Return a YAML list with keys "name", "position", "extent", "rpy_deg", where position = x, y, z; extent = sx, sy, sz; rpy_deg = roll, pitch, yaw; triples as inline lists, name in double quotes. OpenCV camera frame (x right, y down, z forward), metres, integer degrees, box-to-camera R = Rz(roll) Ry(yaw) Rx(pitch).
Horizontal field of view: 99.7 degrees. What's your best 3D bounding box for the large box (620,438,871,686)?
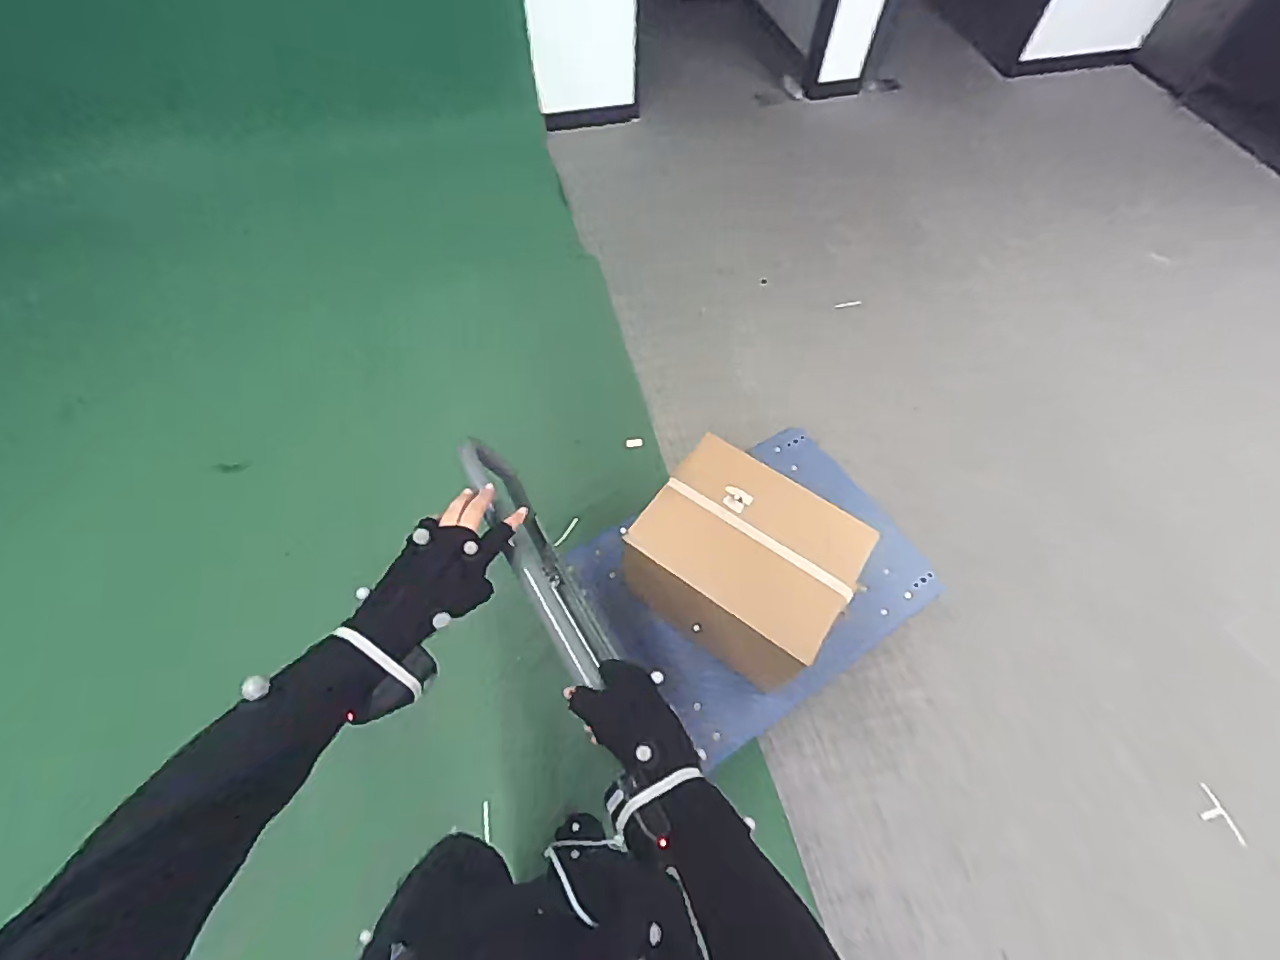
- name: "large box"
  position: [0.209, 0.186, 1.182]
  extent: [0.408, 0.320, 0.320]
  rpy_deg: [32, 64, 17]
